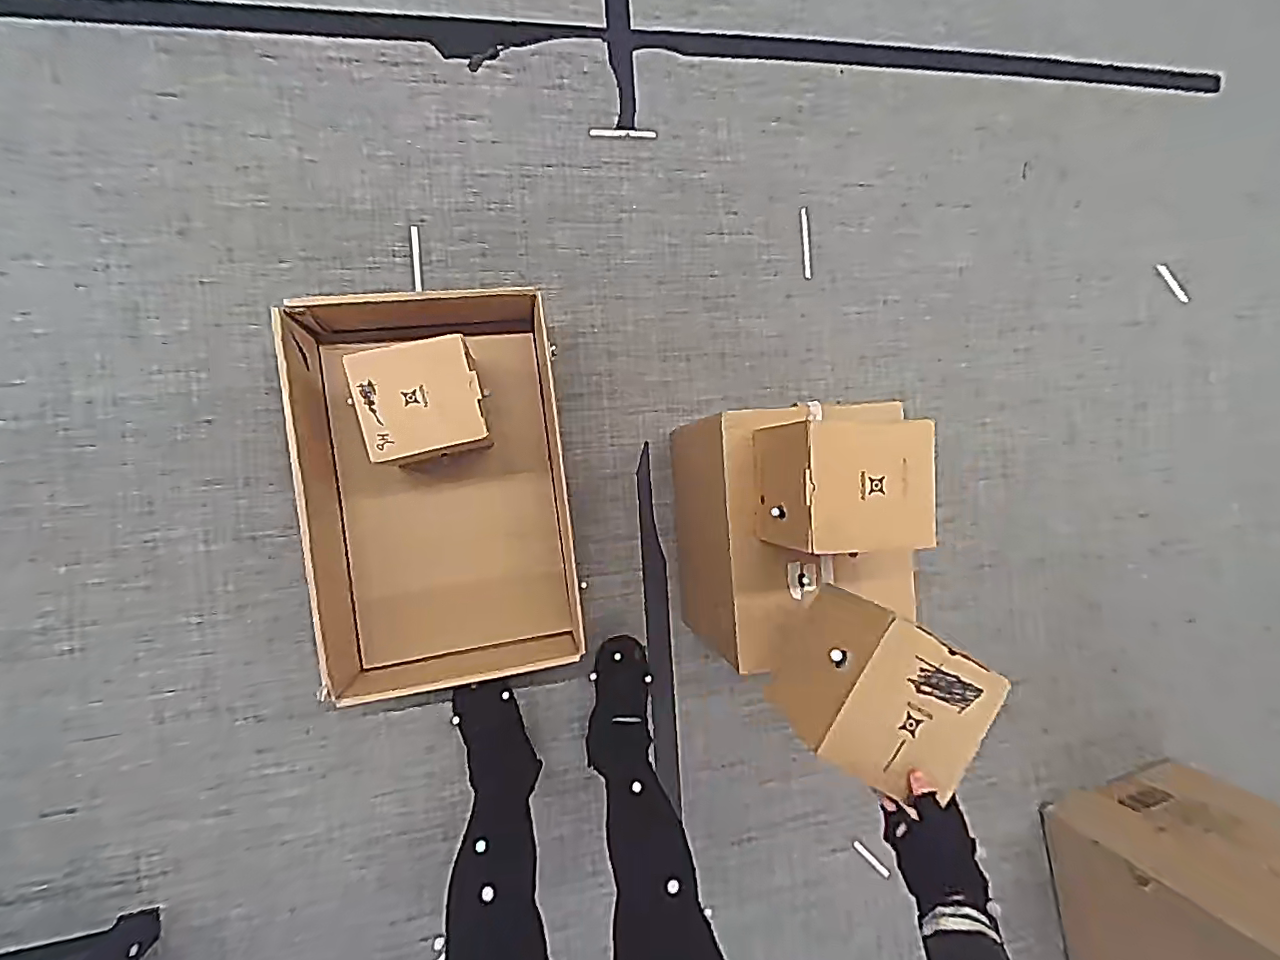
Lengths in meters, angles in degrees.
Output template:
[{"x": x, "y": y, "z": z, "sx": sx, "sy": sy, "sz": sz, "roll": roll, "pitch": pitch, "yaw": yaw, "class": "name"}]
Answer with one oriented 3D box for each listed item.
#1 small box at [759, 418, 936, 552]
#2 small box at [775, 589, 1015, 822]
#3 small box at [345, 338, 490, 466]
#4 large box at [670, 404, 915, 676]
[{"x": 0.272, "y": 0.005, "z": 0.745, "sx": 0.179, "sy": 0.176, "sz": 0.168, "roll": -2, "pitch": 92, "yaw": -11, "class": "small box"}, {"x": 0.292, "y": 0.256, "z": 0.661, "sx": 0.168, "sy": 0.176, "sz": 0.179, "roll": 32, "pitch": 87, "yaw": -5, "class": "small box"}, {"x": -0.350, "y": -0.121, "z": 0.889, "sx": 0.179, "sy": 0.176, "sz": 0.168, "roll": -14, "pitch": 93, "yaw": -12, "class": "small box"}, {"x": 0.255, "y": 0.086, "z": 0.990, "sx": 0.320, "sy": 0.320, "sz": 0.408, "roll": -5, "pitch": 91, "yaw": -10, "class": "large box"}]
